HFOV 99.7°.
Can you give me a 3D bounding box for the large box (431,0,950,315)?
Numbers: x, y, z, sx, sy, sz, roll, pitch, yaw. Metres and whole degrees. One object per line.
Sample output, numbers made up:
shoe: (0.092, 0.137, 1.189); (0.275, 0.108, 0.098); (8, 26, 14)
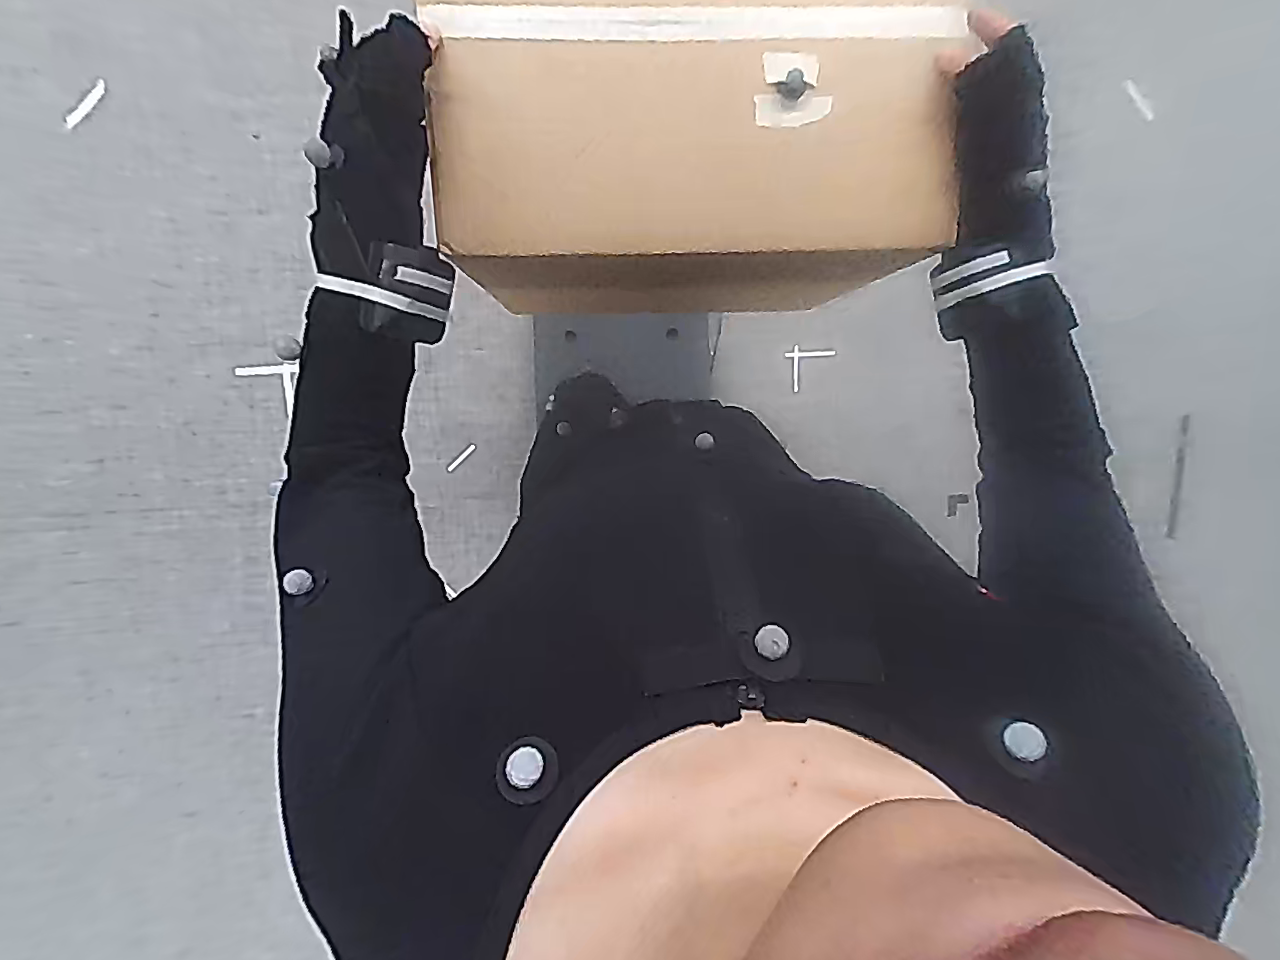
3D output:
large box: (0.032, -0.361, 0.560); (0.408, 0.320, 0.320); (-3, 99, -4)
